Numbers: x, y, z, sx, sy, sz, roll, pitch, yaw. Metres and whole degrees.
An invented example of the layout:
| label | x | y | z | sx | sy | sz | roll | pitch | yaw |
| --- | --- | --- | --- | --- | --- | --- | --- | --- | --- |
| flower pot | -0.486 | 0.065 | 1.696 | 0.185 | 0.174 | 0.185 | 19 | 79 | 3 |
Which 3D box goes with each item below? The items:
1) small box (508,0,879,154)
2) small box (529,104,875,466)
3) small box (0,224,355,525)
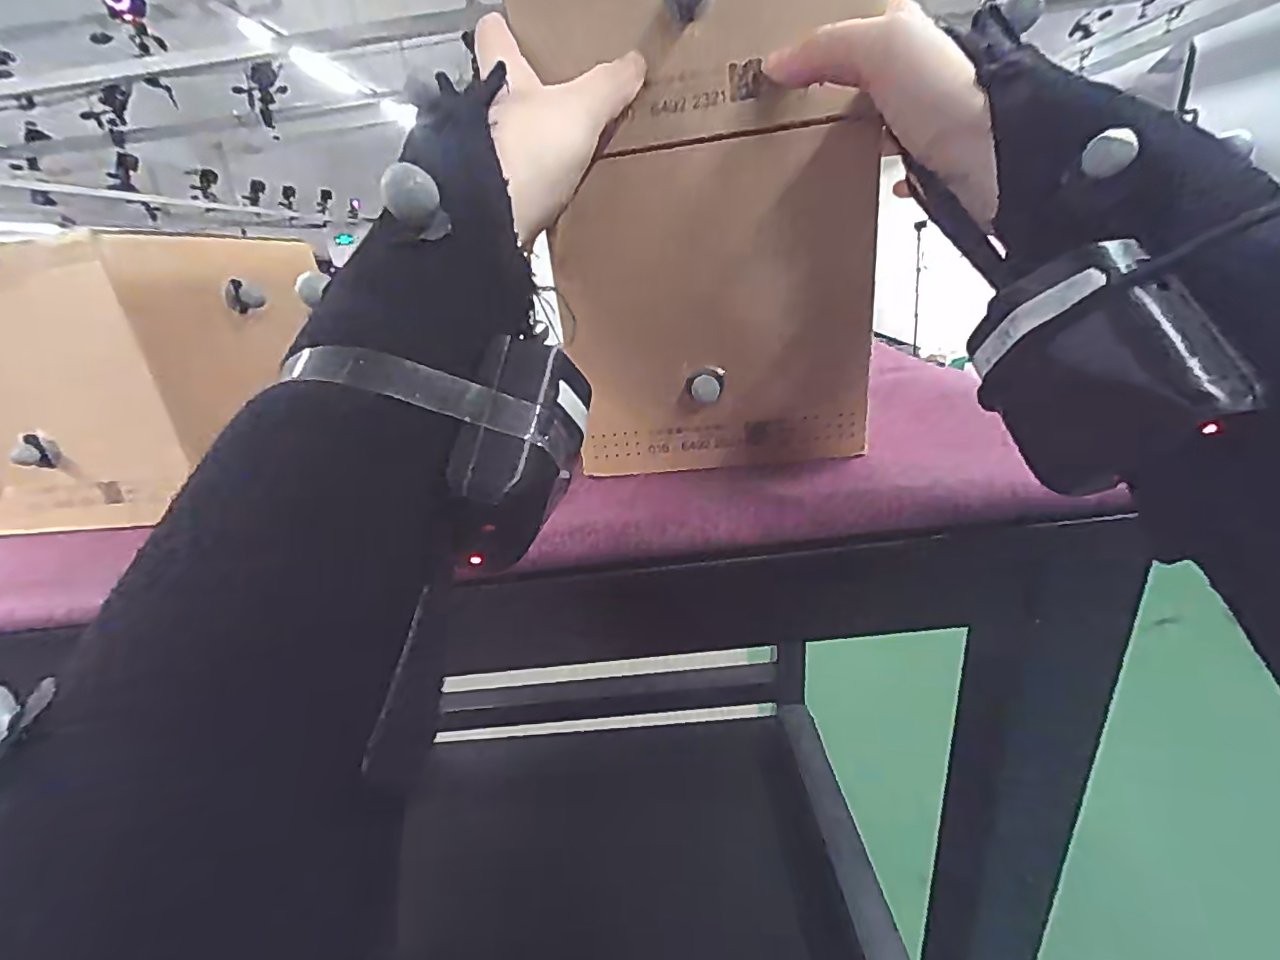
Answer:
| label | x | y | z | sx | sy | sz | roll | pitch | yaw |
| --- | --- | --- | --- | --- | --- | --- | --- | --- | --- |
| small box | 0.023 | -0.271 | 0.295 | 0.168 | 0.176 | 0.179 | -5 | 23 | 9 |
| small box | 0.043 | -0.119 | 0.358 | 0.168 | 0.176 | 0.179 | -5 | 24 | 9 |
| small box | -0.339 | -0.080 | 0.392 | 0.168 | 0.176 | 0.179 | -4 | 23 | 7 |
